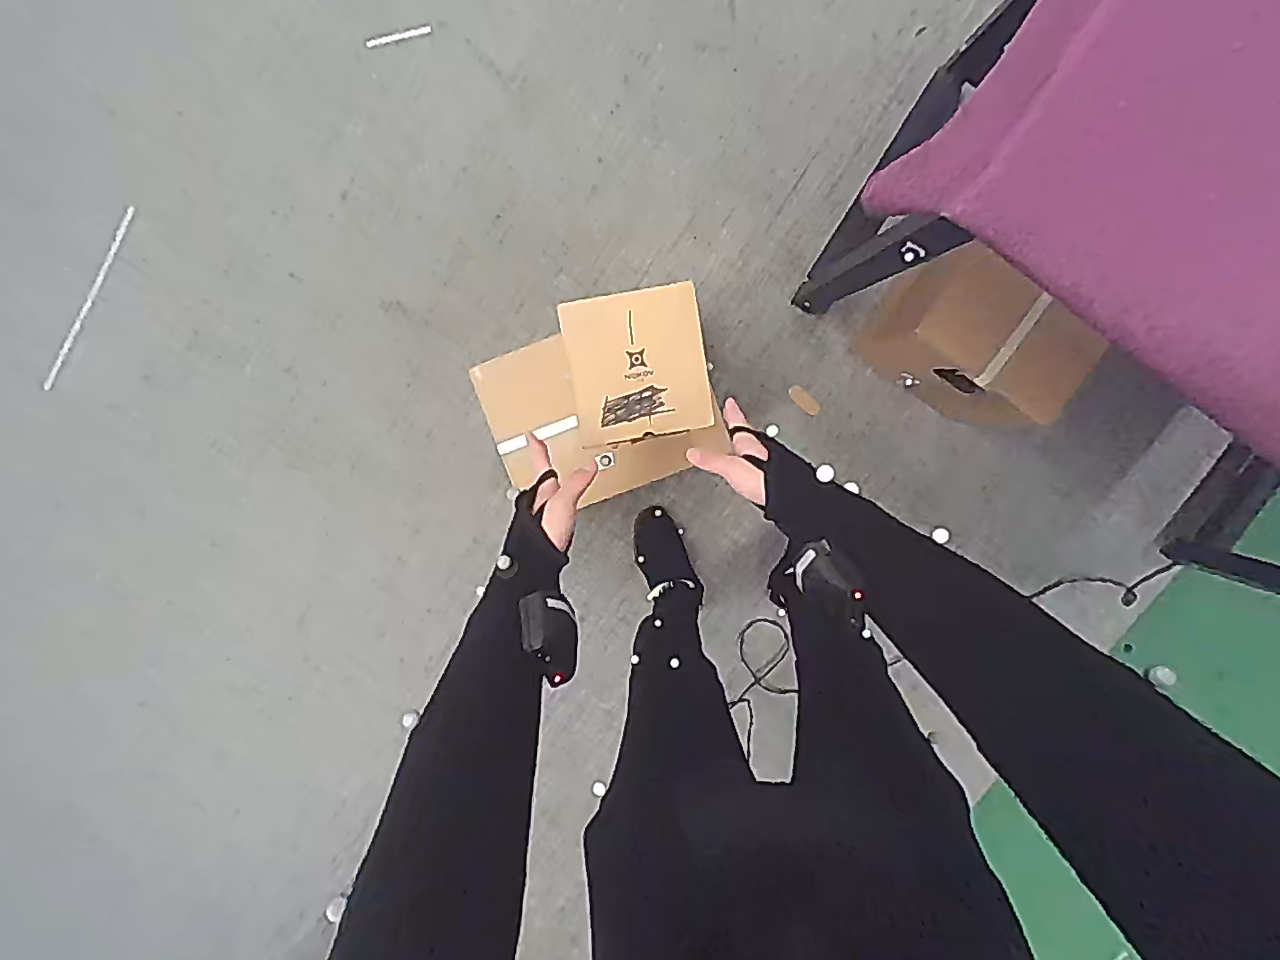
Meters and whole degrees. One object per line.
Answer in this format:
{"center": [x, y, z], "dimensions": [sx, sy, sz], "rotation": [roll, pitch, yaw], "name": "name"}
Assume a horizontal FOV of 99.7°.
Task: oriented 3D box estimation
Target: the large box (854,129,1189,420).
{"center": [0.720, -0.370, 1.093], "dimensions": [0.320, 0.320, 0.408], "rotation": [33, 96, -6], "name": "large box"}

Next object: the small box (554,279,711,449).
{"center": [-0.006, -0.145, 0.711], "dimensions": [0.168, 0.176, 0.179], "rotation": [-9, 97, 1], "name": "small box"}
